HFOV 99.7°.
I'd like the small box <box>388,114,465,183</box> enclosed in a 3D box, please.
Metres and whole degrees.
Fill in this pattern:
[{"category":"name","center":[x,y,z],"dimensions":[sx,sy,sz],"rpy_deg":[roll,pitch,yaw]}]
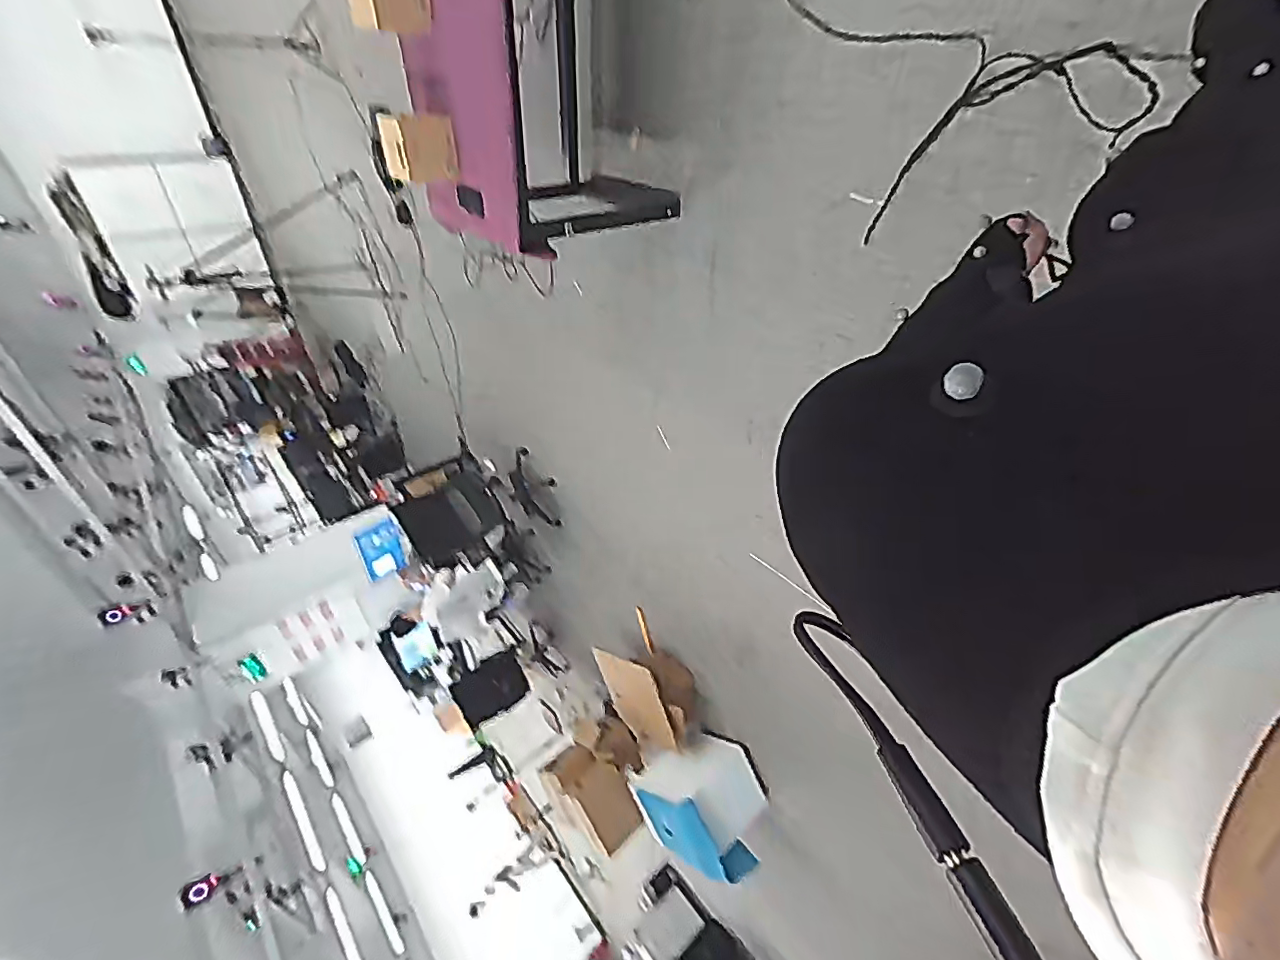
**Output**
[{"category":"small box","center":[-0.673,-1.065,1.731],"dimensions":[0.179,0.176,0.168],"rpy_deg":[37,139,36]}]

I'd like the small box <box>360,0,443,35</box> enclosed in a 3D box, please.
[{"category":"small box","center":[-0.679,-1.365,1.522],"dimensions":[0.179,0.176,0.168],"rpy_deg":[35,140,35]}]
